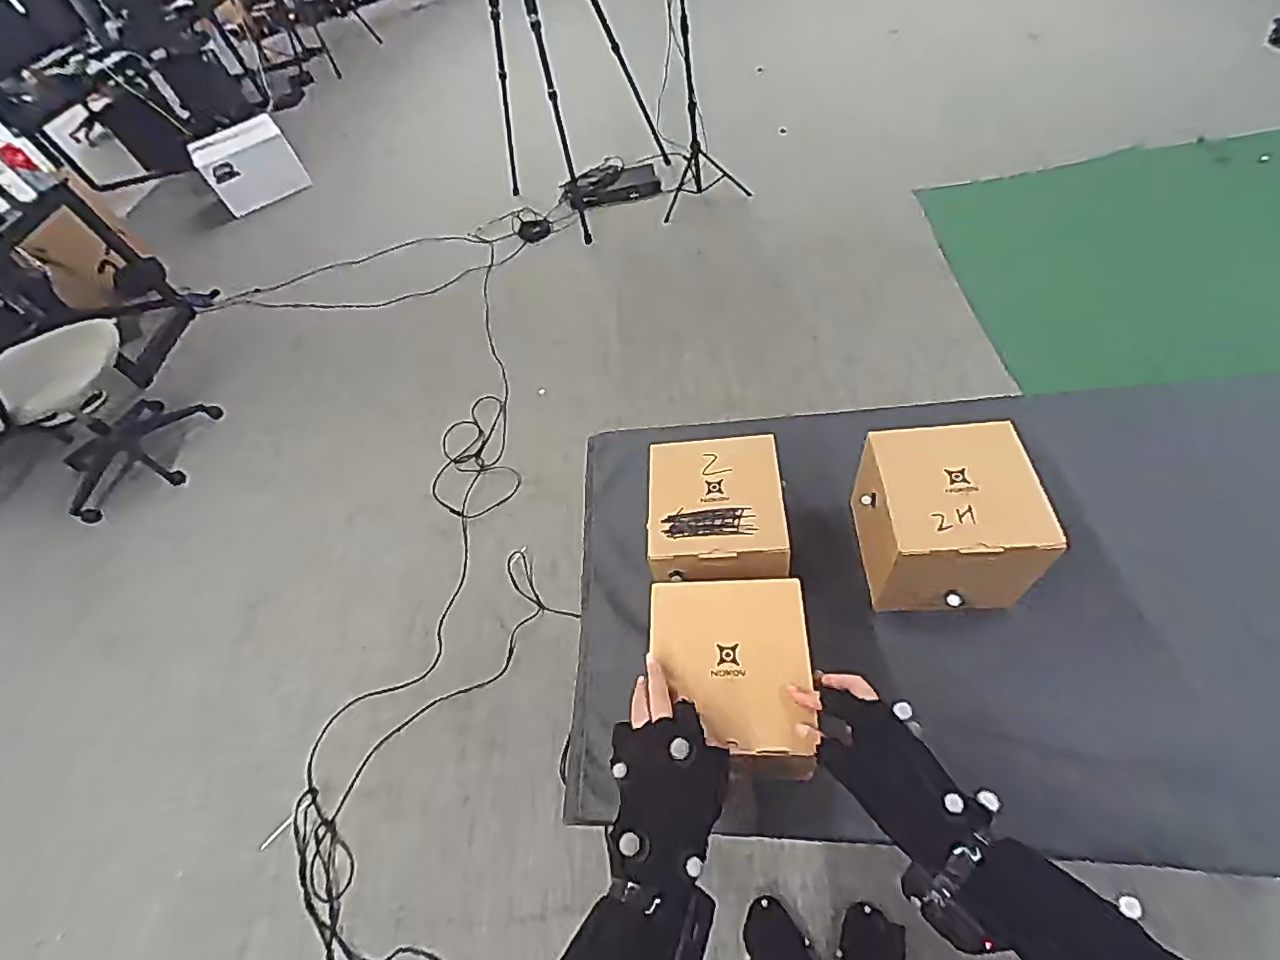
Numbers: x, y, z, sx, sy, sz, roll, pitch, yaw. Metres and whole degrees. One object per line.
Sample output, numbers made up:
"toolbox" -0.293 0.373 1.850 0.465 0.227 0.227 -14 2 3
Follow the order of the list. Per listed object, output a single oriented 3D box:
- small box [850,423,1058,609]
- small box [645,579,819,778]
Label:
"small box" 0.375 0.050 0.689 0.168 0.176 0.179 -4 55 10
"small box" 0.102 0.230 0.620 0.168 0.176 0.179 -4 55 9
